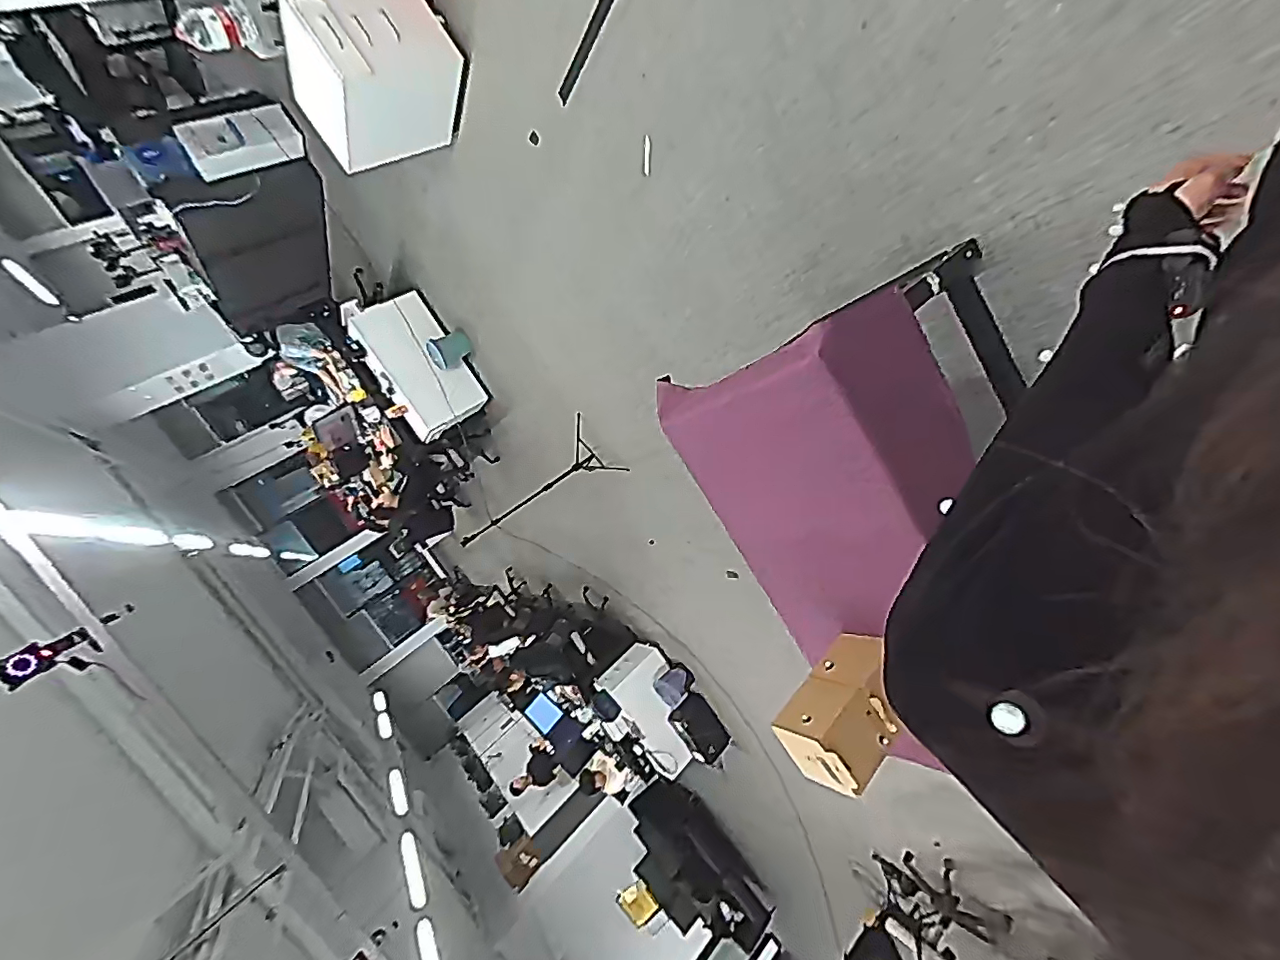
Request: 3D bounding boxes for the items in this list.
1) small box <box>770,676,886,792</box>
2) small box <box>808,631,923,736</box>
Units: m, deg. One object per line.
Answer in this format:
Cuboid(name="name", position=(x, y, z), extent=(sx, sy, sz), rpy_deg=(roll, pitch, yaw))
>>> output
Cuboid(name="small box", position=(0.454, 0.593, 1.291), extent=(0.168, 0.176, 0.179), rpy_deg=(55, 153, -5))
Cuboid(name="small box", position=(0.569, 0.502, 1.365), extent=(0.168, 0.176, 0.179), rpy_deg=(57, 152, -9))
